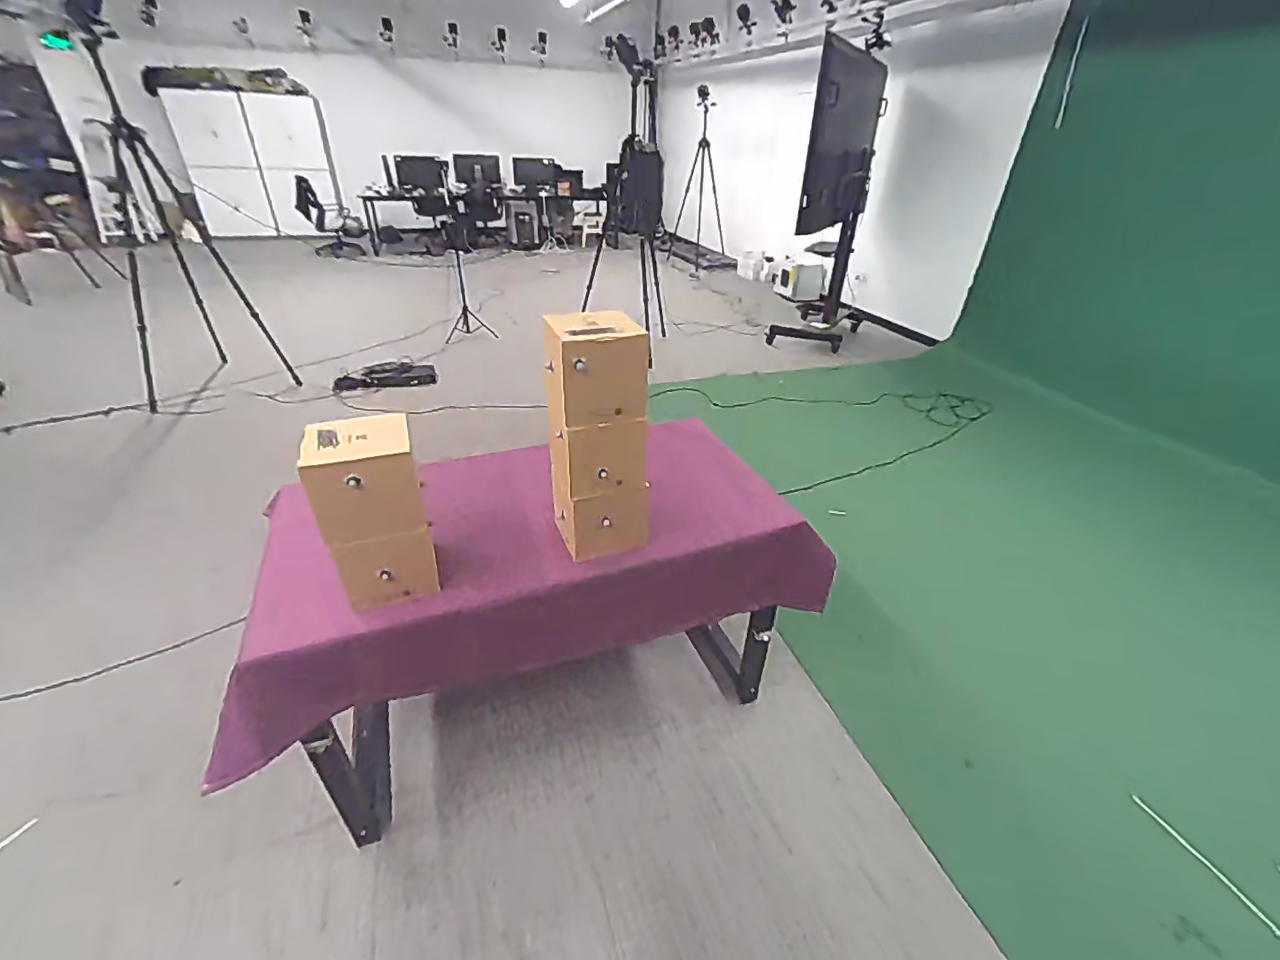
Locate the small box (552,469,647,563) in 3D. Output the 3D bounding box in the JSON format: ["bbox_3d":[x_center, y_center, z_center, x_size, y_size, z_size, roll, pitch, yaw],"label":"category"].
[{"bbox_3d":[-0.092,0.068,1.236,0.179,0.176,0.168,-12,35,-20],"label":"small box"}]

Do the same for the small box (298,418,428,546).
[{"bbox_3d":[-0.506,0.002,1.007,0.179,0.176,0.168,-10,34,-20],"label":"small box"}]

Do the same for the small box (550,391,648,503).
[{"bbox_3d":[-0.093,-0.073,1.154,0.168,0.176,0.179,-10,34,-19],"label":"small box"}]

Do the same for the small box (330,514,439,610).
[{"bbox_3d":[-0.510,0.142,1.095,0.168,0.176,0.179,-10,33,-19],"label":"small box"}]
